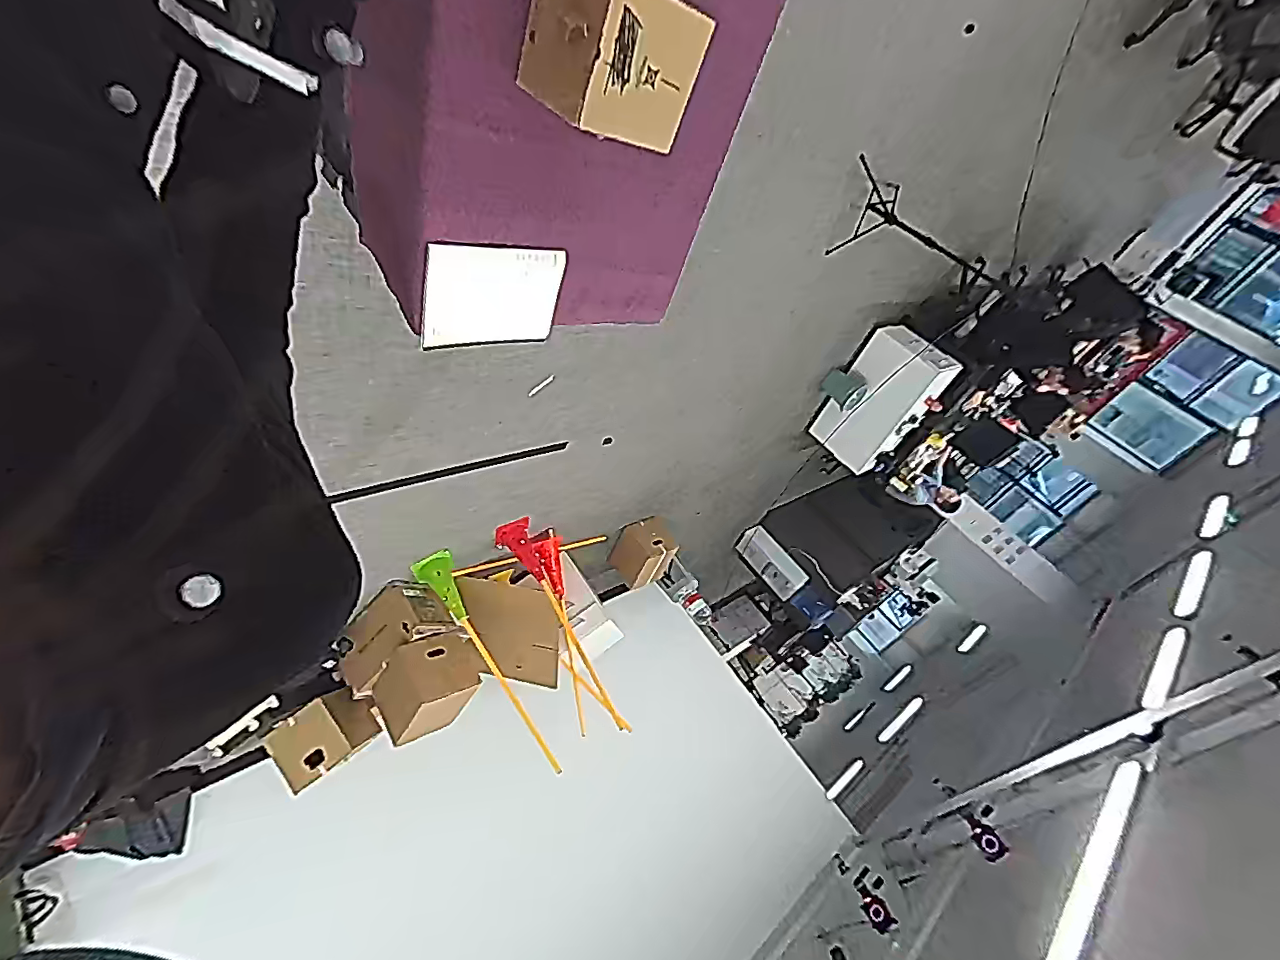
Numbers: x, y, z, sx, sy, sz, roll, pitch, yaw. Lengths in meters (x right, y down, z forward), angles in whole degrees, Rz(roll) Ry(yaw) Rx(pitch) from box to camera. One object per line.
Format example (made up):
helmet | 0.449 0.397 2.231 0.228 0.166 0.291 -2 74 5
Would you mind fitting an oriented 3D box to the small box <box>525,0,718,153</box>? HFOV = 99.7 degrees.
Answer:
small box | -0.034 -0.587 0.744 0.179 0.176 0.168 -16 145 -41
